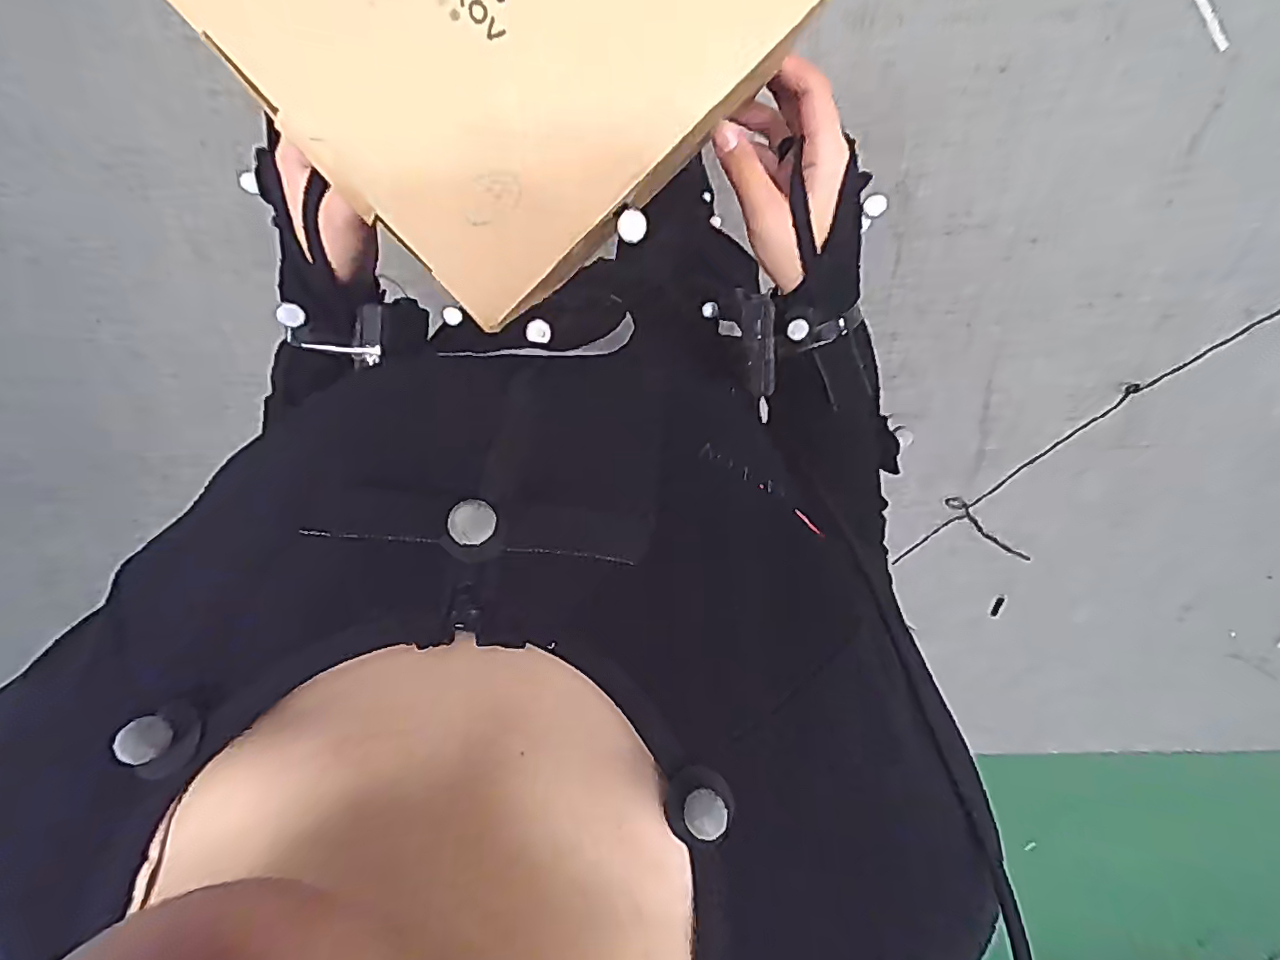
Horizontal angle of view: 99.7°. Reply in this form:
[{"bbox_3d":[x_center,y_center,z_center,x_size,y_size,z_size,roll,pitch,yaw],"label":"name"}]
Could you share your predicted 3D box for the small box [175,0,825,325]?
[{"bbox_3d":[-0.048,-0.202,0.252,0.179,0.176,0.168,-38,108,17],"label":"small box"}]
